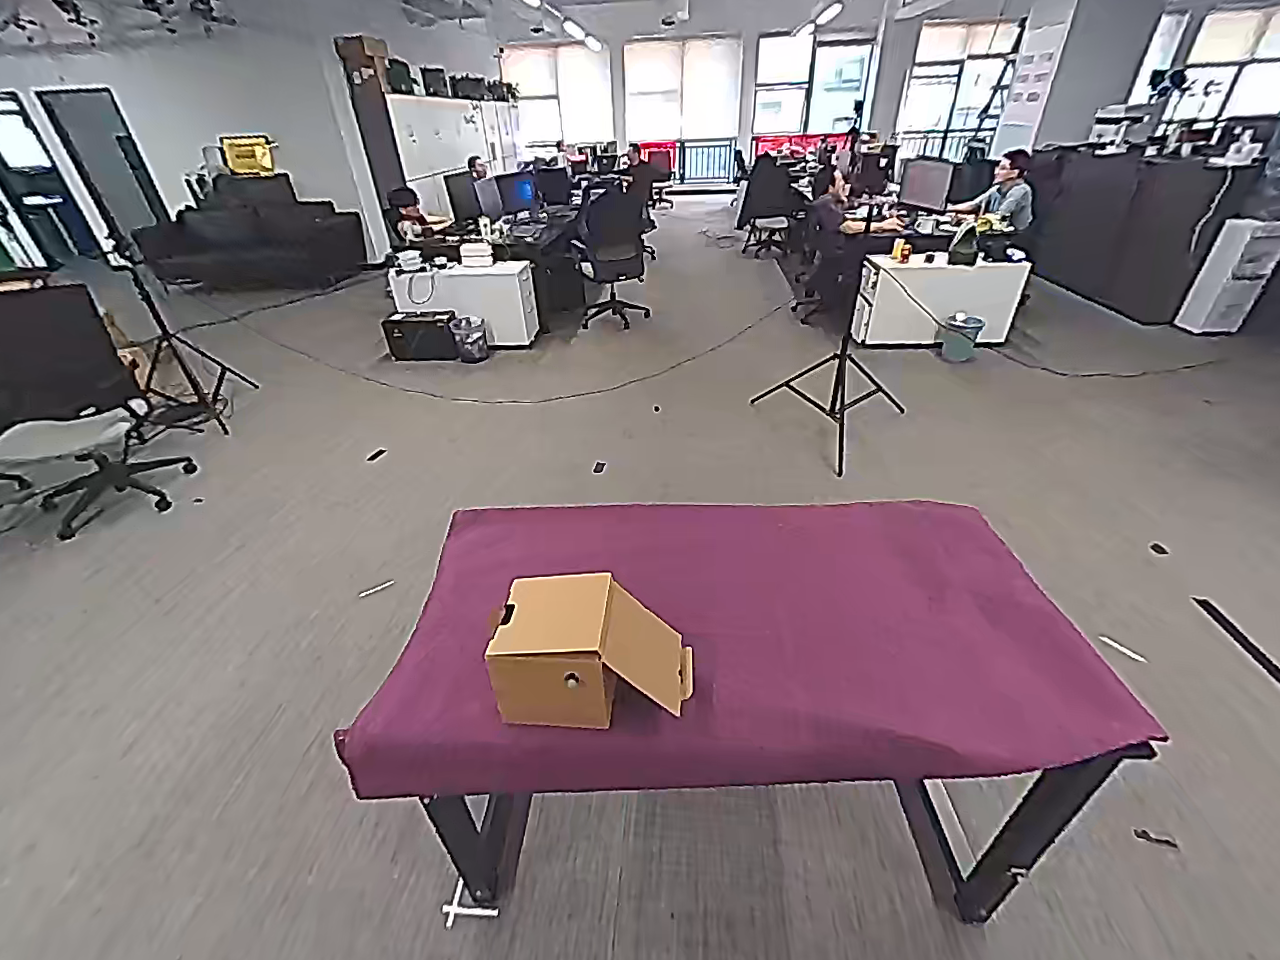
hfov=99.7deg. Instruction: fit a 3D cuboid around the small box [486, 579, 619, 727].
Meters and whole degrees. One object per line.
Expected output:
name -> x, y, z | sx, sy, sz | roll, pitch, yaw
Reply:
small box -> -0.132, 0.285, 0.895 | 0.179, 0.176, 0.168 | 0, 32, 5
